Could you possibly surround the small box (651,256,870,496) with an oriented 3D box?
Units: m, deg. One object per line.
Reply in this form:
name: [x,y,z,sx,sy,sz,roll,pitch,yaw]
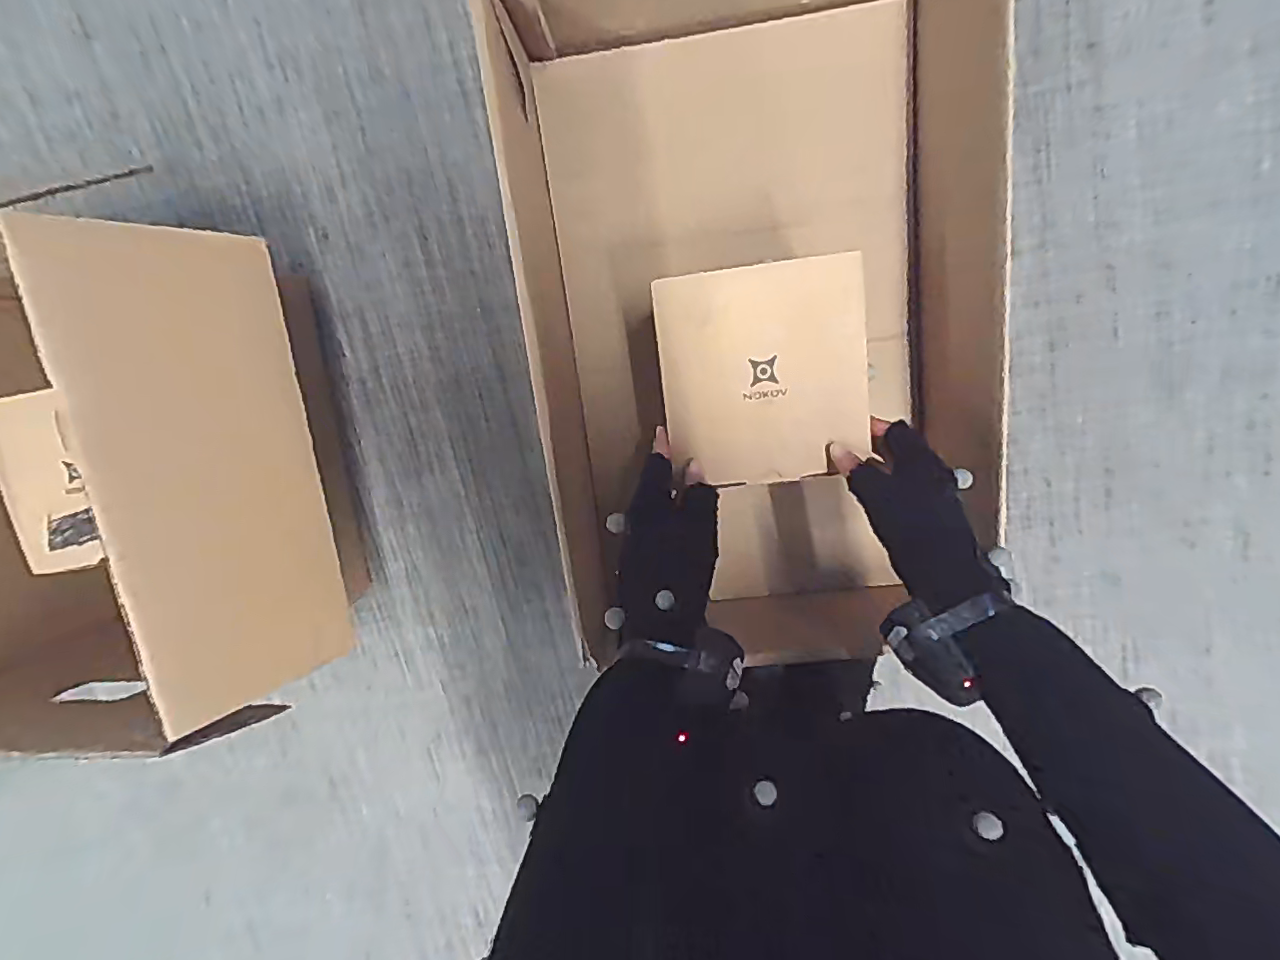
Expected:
small box: [0.102,-0.095,0.514,0.168,0.176,0.179,-7,101,5]
